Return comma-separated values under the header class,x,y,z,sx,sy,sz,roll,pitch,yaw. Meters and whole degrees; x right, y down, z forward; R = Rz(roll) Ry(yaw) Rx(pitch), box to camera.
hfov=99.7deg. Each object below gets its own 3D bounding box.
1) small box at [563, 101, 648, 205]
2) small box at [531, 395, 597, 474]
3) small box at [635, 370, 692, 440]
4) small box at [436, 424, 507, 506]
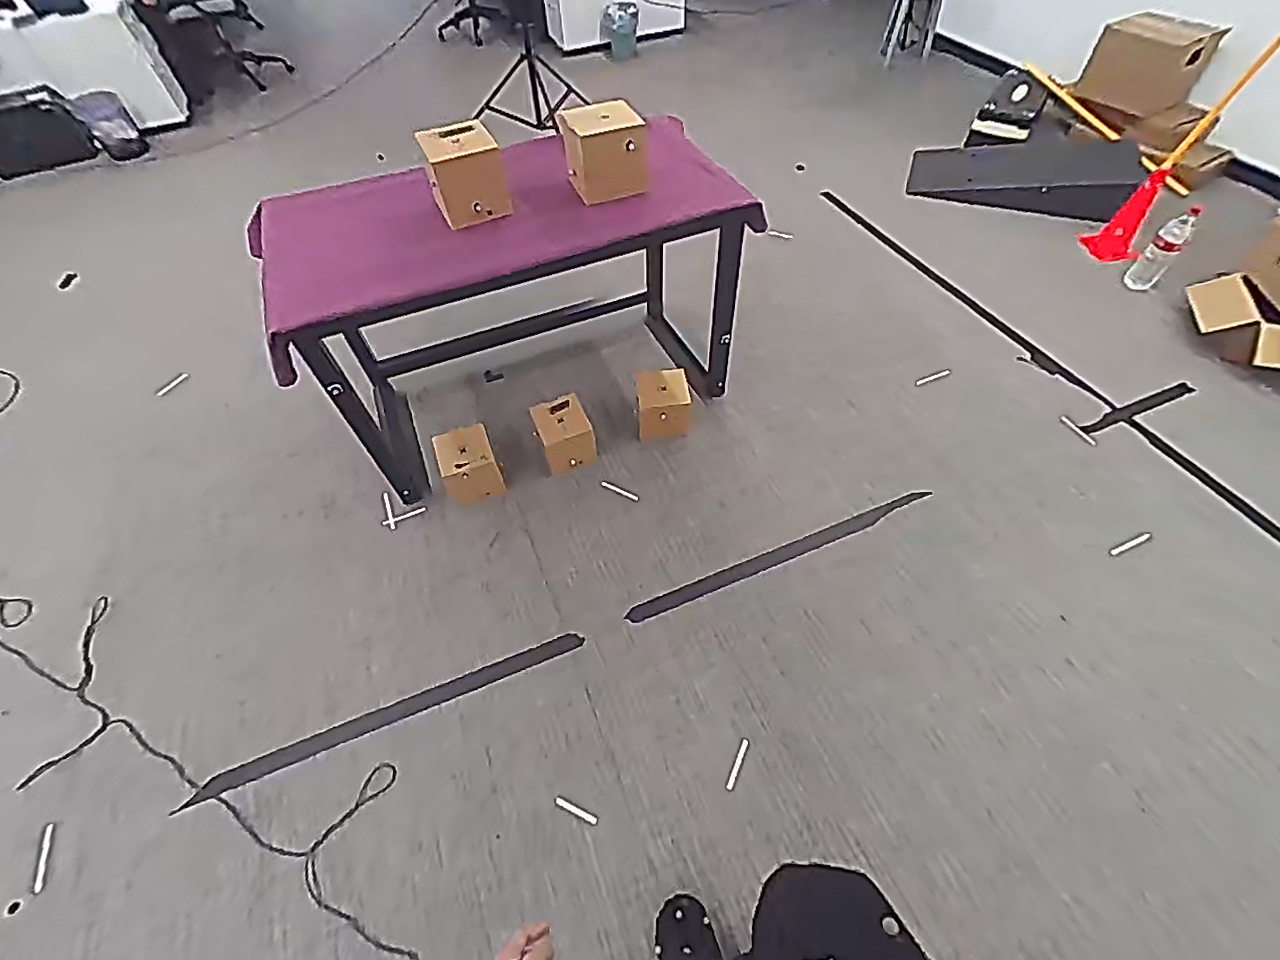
class,x,y,z,sx,sy,sz,roll,pitch,yaw
small box,-0.088,-0.855,1.417,0.179,0.176,0.168,-19,55,-10
small box,-0.253,-0.151,1.818,0.168,0.176,0.179,-21,57,-12
small box,0.081,-0.260,1.884,0.179,0.176,0.168,-7,55,-1
small box,-0.546,-0.047,1.757,0.168,0.176,0.179,-19,54,-11
